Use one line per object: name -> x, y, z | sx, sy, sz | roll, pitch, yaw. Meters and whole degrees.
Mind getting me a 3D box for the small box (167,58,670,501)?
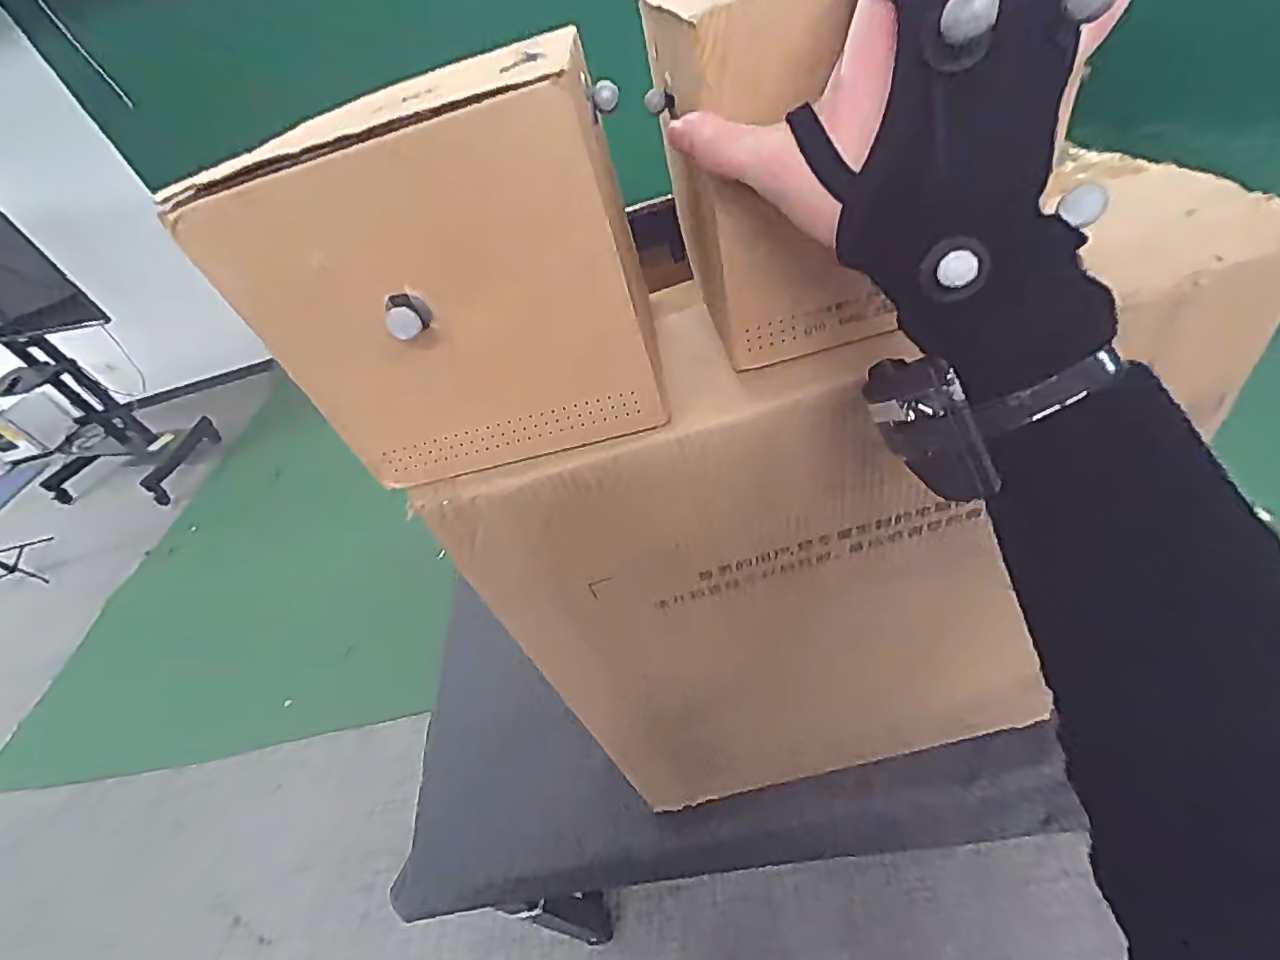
small box -> -0.091, -0.109, 0.314 | 0.179, 0.176, 0.168 | -13, 44, 7
